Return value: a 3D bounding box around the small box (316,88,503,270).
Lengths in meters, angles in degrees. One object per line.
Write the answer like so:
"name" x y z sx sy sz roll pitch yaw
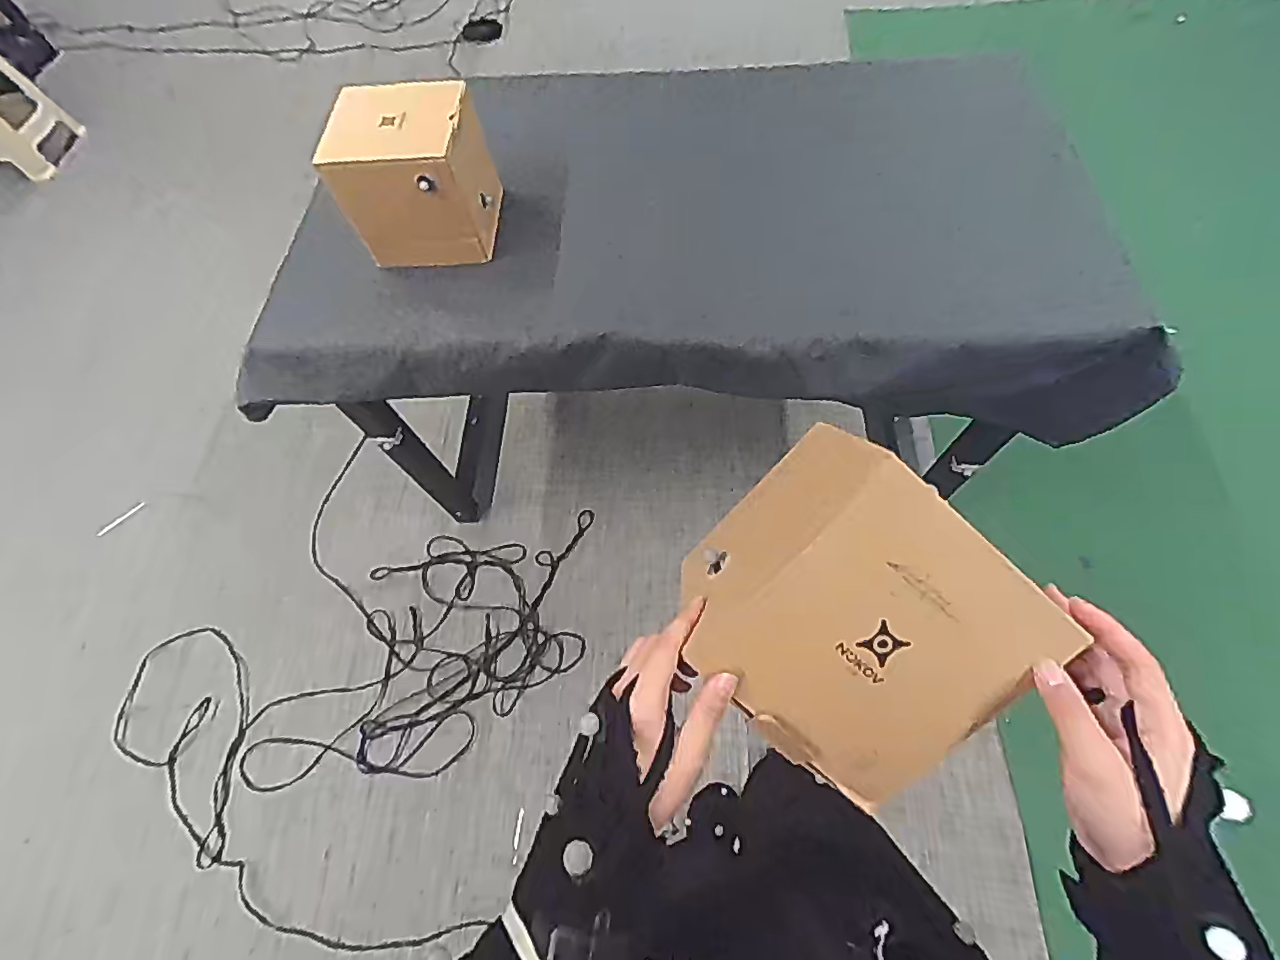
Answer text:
"small box" -0.314 -0.422 0.775 0.179 0.176 0.168 -1 64 3
